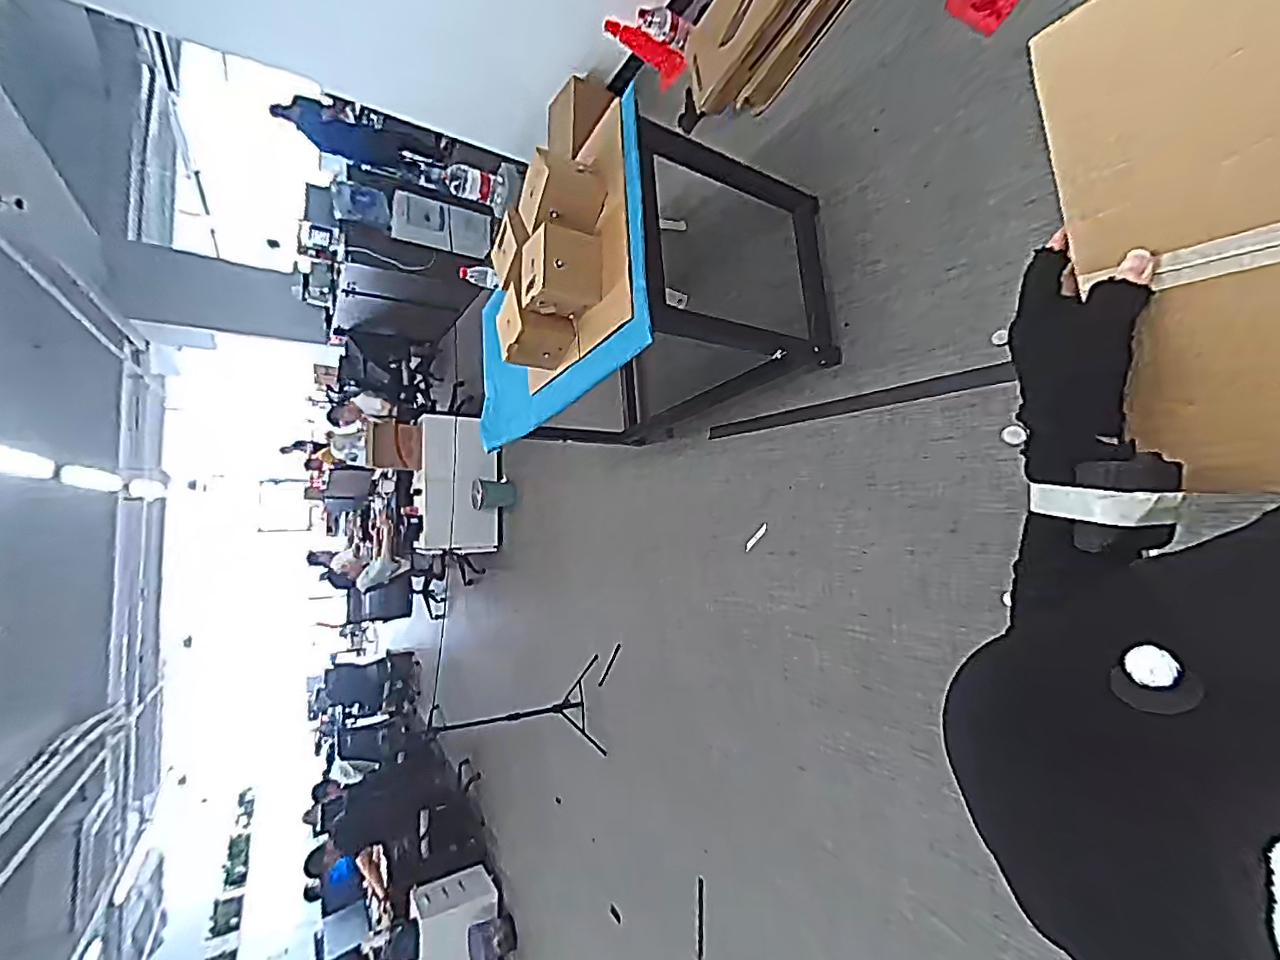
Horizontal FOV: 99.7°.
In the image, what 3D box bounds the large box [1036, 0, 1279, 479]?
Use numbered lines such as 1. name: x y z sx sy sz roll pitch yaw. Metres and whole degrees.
1. large box: 0.520 -0.207 0.272 0.408 0.320 0.320 1 121 59
